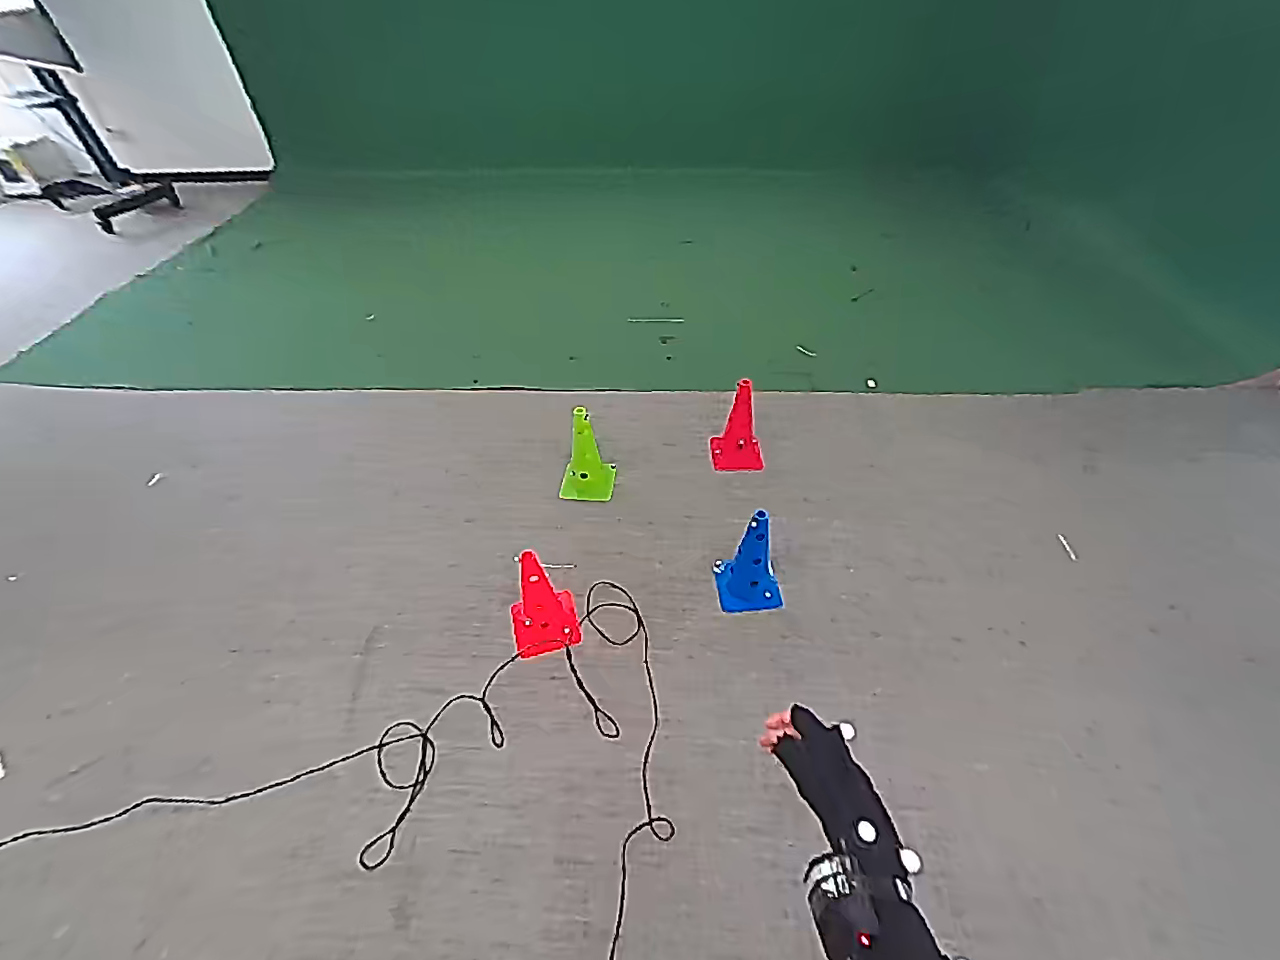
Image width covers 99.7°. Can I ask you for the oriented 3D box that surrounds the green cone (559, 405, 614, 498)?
[{"bbox_3d":[-0.214,-0.126,1.994,0.200,0.368,0.202,2,47,4],"label":"green cone"}]

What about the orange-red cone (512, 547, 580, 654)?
[{"bbox_3d":[-0.297,0.318,1.568,0.198,0.360,0.199,-12,45,-11],"label":"orange-red cone"}]
